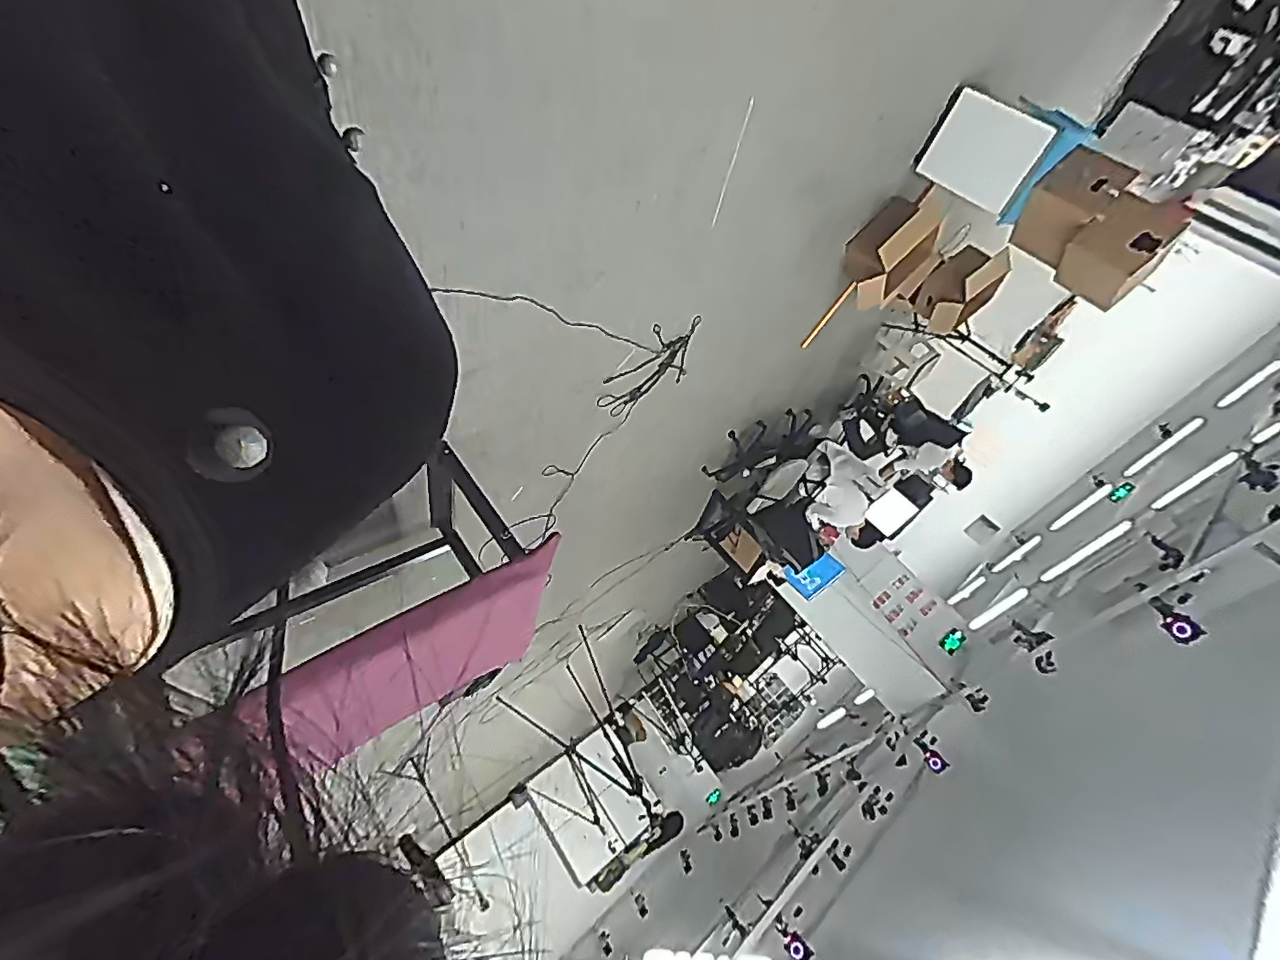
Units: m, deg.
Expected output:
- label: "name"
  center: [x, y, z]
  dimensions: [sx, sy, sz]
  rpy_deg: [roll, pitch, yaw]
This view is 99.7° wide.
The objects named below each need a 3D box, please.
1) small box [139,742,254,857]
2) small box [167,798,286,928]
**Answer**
- label: "small box"
  center: [-1.081, 0.786, 1.327]
  dimensions: [0.179, 0.176, 0.168]
  rpy_deg: [-27, 153, -31]
- label: "small box"
  center: [-0.973, 0.898, 1.274]
  dimensions: [0.179, 0.176, 0.168]
  rpy_deg: [-25, 151, -36]
